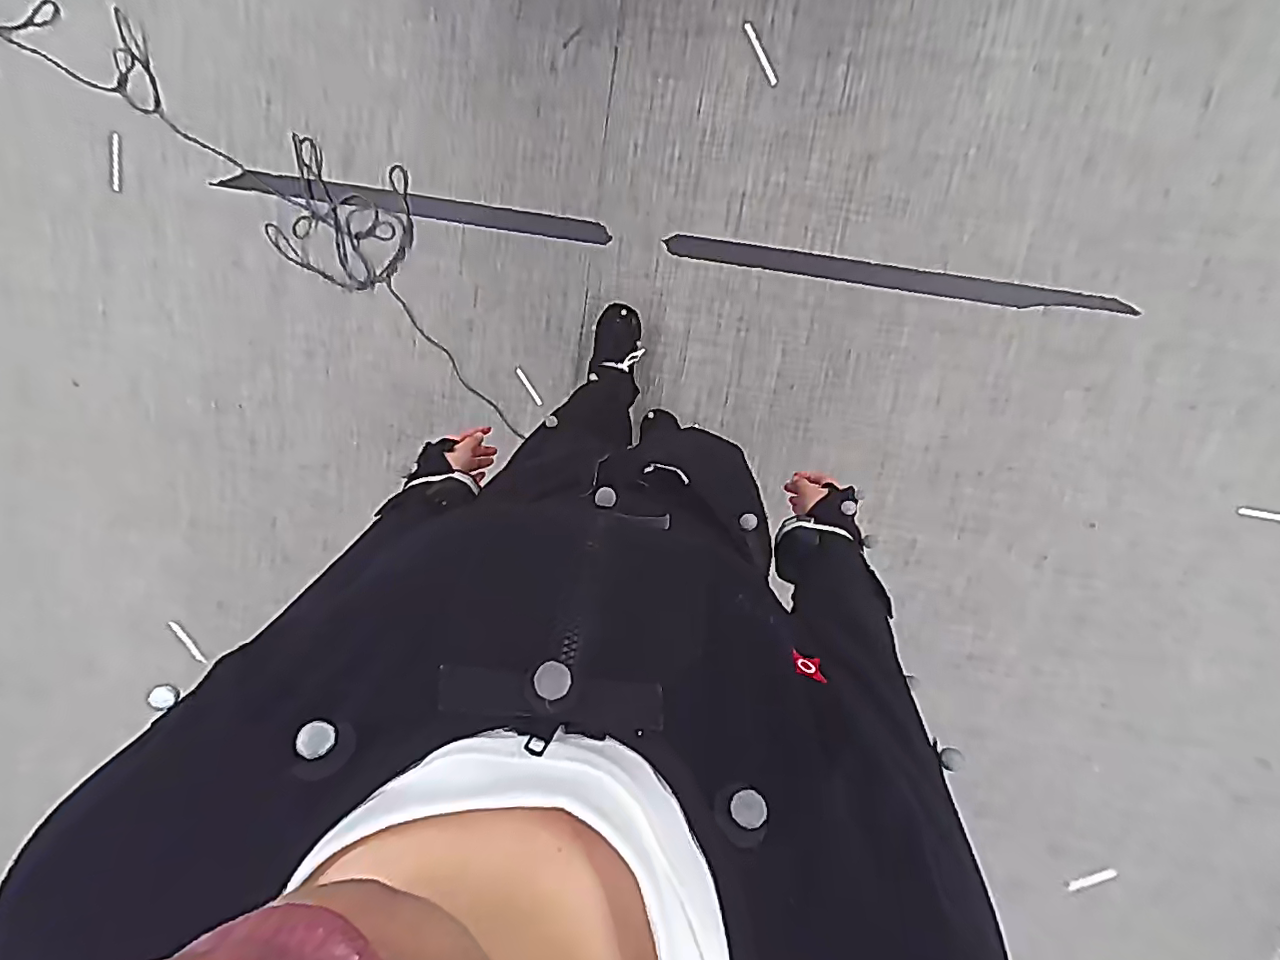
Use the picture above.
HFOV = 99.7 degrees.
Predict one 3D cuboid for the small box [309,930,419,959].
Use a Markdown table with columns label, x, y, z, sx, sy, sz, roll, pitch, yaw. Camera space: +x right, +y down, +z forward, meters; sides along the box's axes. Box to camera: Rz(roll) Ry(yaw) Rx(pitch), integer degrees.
| label | x | y | z | sx | sy | sz | roll | pitch | yaw |
| --- | --- | --- | --- | --- | --- | --- | --- | --- | --- |
| small box | -0.473 | 0.870 | 0.855 | 0.179 | 0.176 | 0.168 | 11 | 100 | 5 |
